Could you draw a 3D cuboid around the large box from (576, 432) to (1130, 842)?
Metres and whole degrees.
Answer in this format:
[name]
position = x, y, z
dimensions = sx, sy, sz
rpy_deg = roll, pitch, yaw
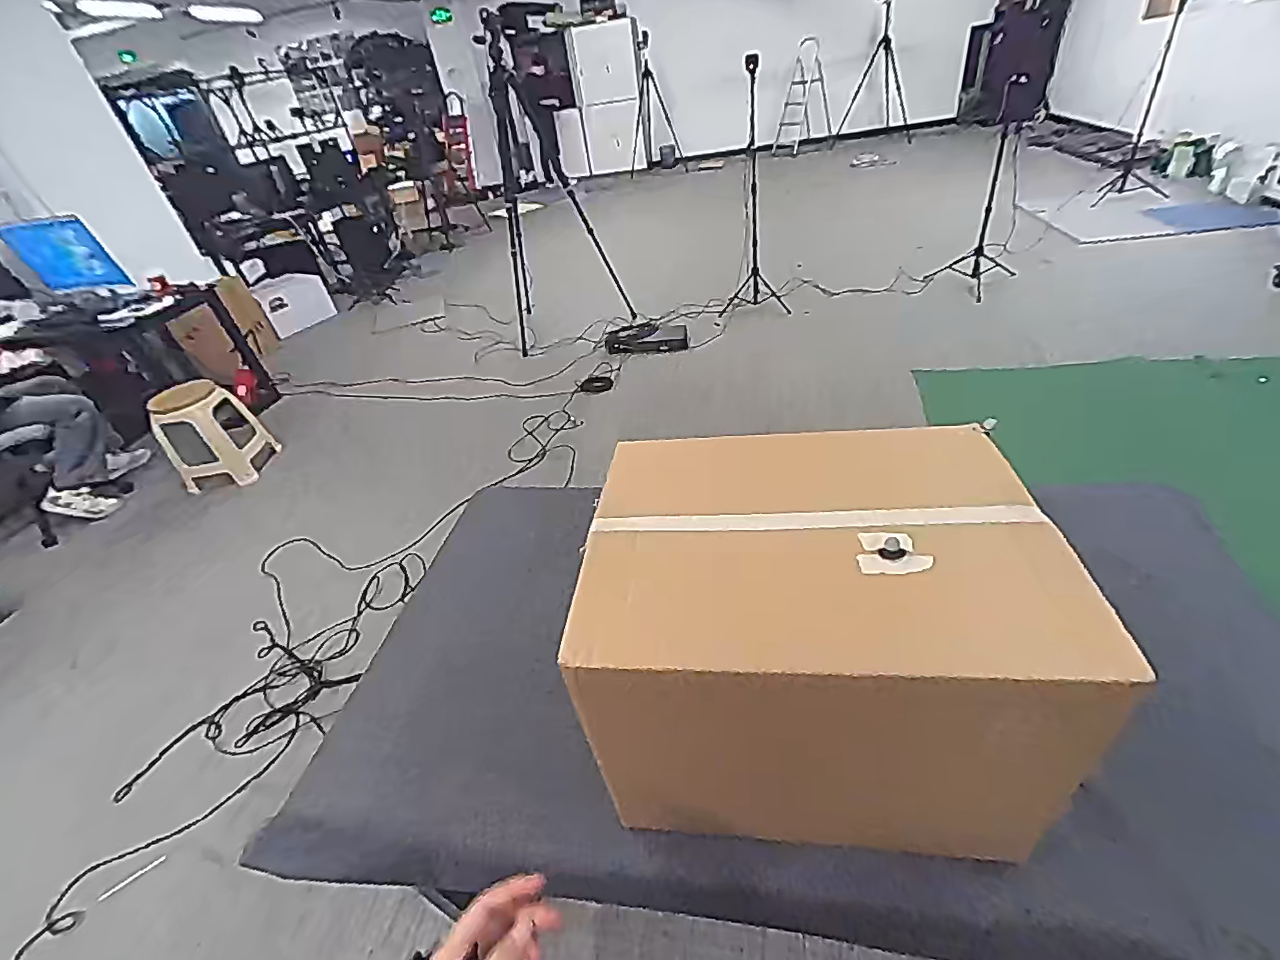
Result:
[large box]
position = 0.174, 0.163, 0.603
dimensions = 0.408, 0.320, 0.320
rpy_deg = -2, 38, 10
